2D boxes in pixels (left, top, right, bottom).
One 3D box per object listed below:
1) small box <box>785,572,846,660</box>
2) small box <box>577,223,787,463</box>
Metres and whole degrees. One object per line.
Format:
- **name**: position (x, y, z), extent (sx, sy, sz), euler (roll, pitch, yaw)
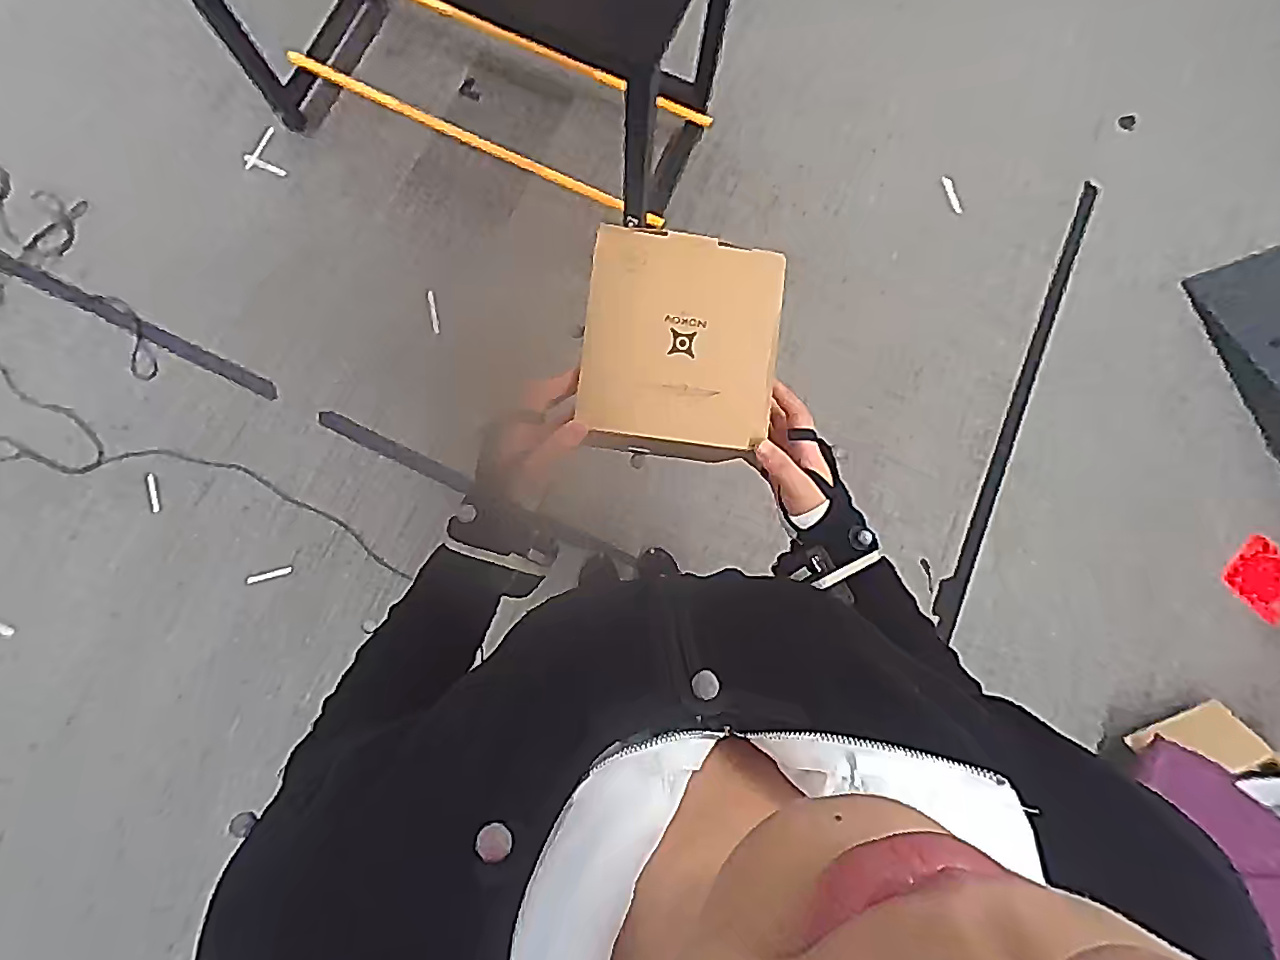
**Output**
- **small box**: position (0.509, 0.358, 1.435), extent (0.168, 0.176, 0.179), euler (28, 82, 2)
- **small box**: position (0.029, -0.116, 0.532), extent (0.168, 0.176, 0.179), euler (7, 88, -6)
